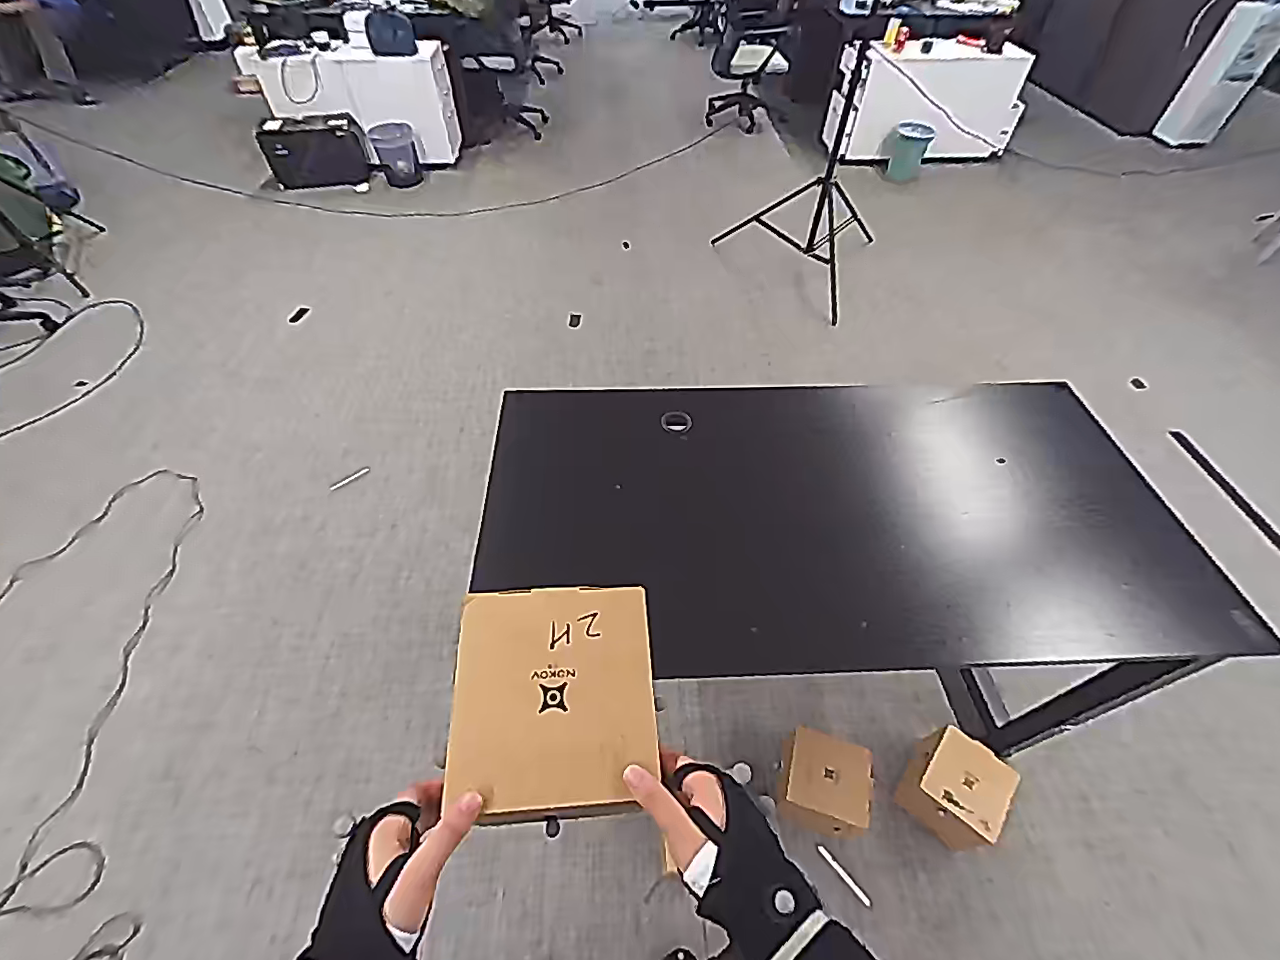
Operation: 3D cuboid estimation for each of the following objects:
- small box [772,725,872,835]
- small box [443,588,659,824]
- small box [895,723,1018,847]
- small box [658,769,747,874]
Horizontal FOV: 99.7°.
[{"bbox_3d":[0.420,0.700,1.255,0.179,0.176,0.168,14,51,12],"label":"small box"},{"bbox_3d":[-0.076,0.220,0.515,0.168,0.176,0.179,-2,55,-6],"label":"small box"},{"bbox_3d":[0.722,0.706,1.250,0.168,0.176,0.179,34,58,24],"label":"small box"},{"bbox_3d":[0.129,0.760,1.201,0.168,0.176,0.179,-3,52,-3],"label":"small box"}]
